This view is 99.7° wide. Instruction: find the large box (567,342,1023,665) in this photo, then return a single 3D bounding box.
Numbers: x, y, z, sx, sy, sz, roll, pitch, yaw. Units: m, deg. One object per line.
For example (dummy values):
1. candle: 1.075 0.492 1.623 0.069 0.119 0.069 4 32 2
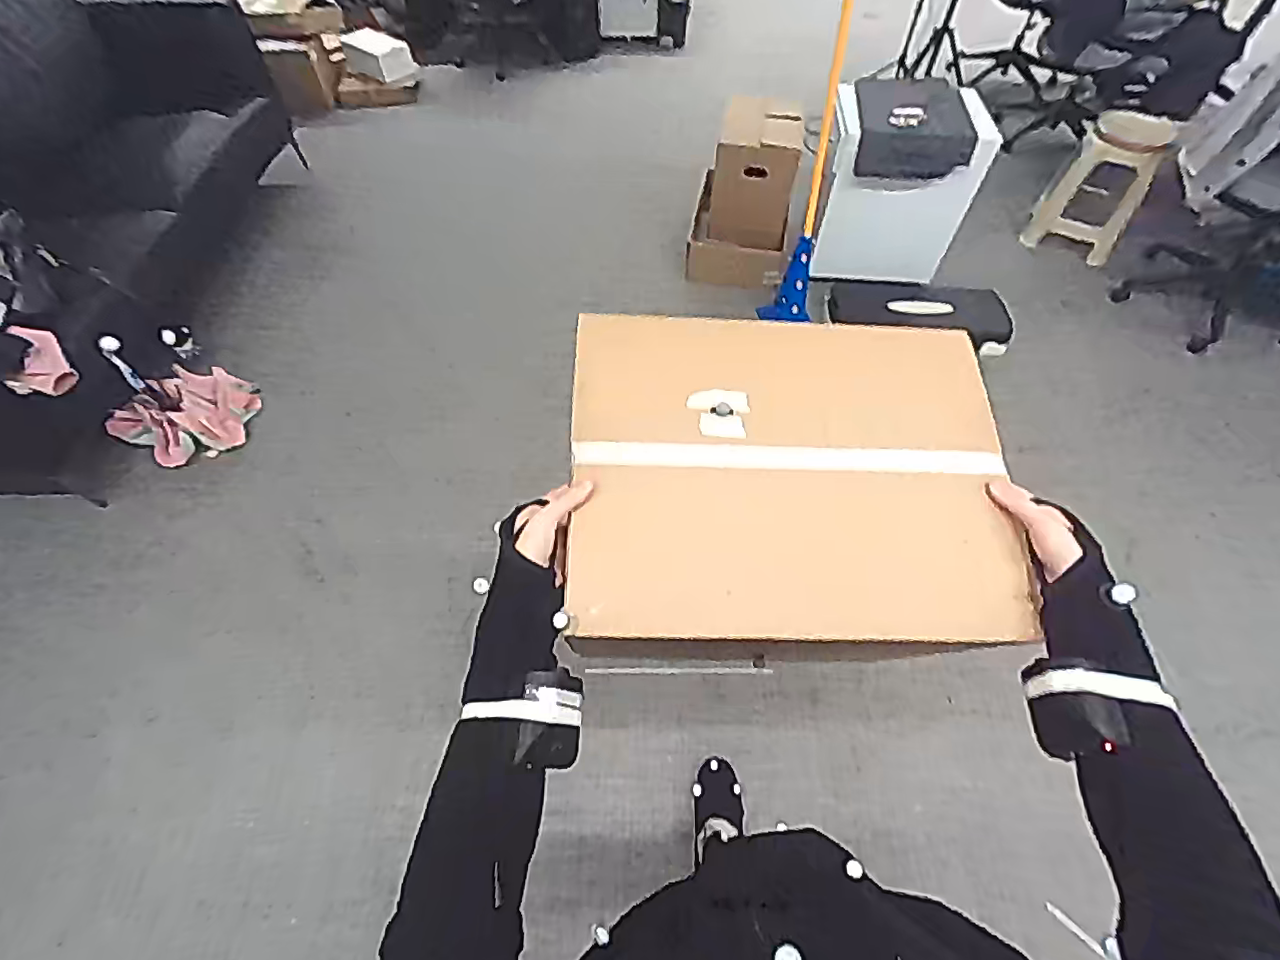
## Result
1. large box: 0.129 0.052 0.651 0.408 0.320 0.320 1 67 -3
